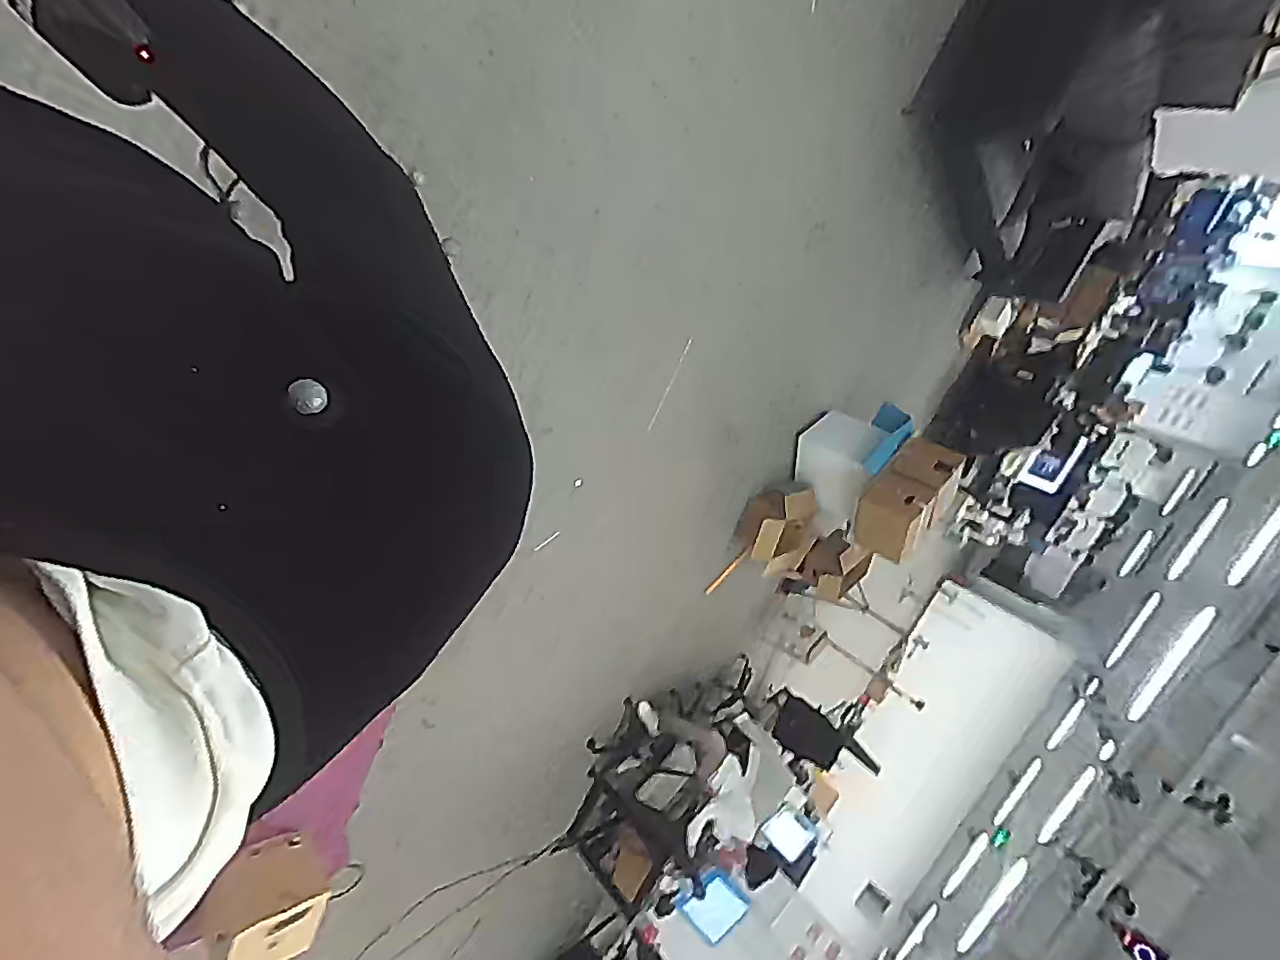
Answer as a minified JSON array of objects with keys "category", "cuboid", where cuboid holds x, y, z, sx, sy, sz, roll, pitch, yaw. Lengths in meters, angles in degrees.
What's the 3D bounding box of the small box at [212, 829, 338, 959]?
[{"category":"small box","cuboid":[-0.769,0.875,1.133,0.168,0.176,0.179,9,111,-50]}]
